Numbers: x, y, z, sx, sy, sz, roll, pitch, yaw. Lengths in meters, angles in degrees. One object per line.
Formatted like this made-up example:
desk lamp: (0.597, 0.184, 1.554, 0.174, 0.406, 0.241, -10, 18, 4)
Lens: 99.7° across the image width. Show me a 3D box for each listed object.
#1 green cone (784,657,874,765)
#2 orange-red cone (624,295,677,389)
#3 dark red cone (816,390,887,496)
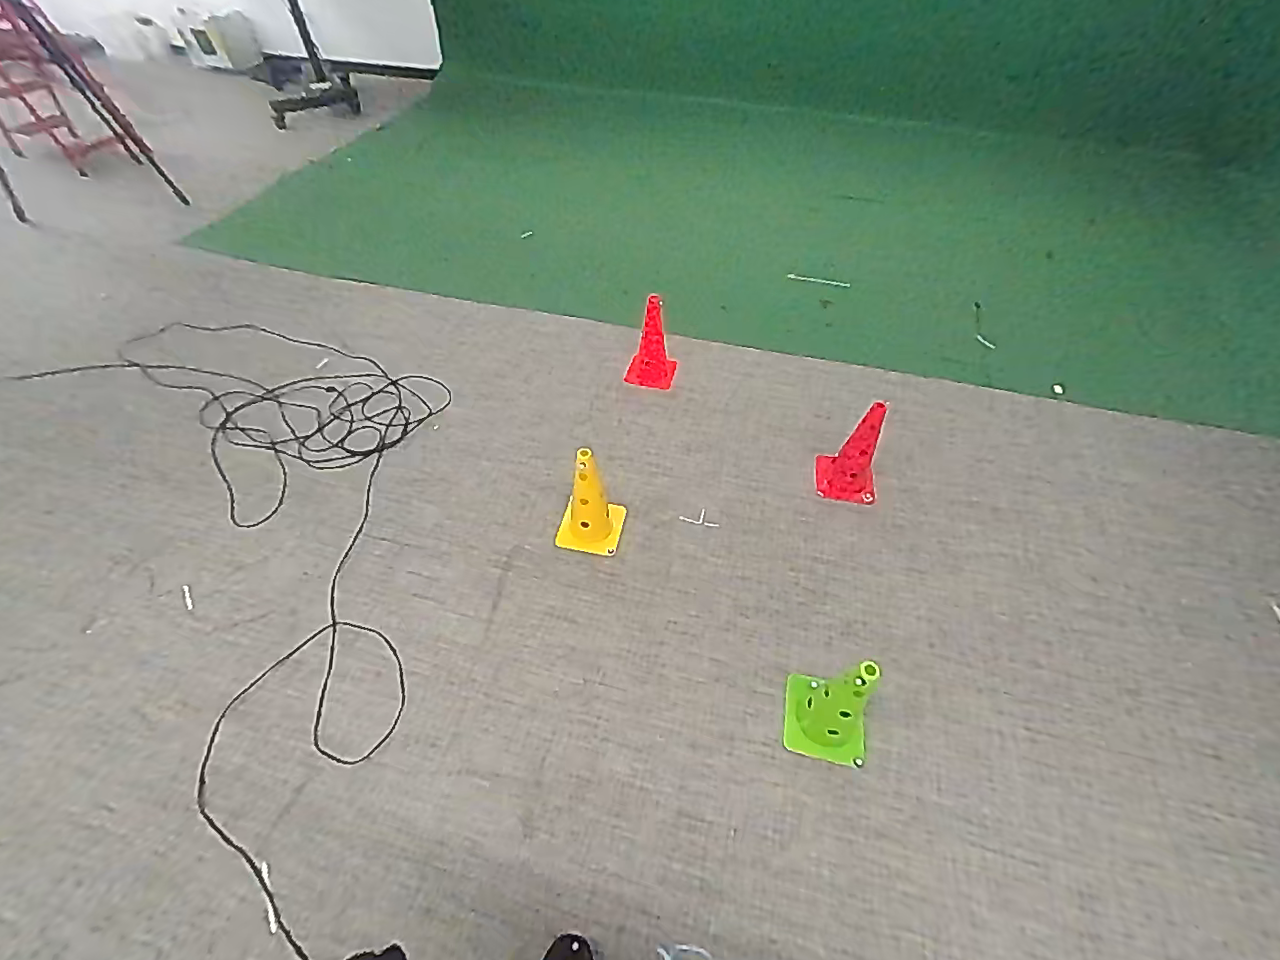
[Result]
green cone: (0.480, 0.505, 1.275, 0.202, 0.368, 0.200, 10, 50, 9)
orange-red cone: (0.044, -0.567, 2.155, 0.198, 0.360, 0.199, 12, 52, 10)
dark red cone: (0.726, -0.132, 1.776, 0.202, 0.394, 0.201, 8, 49, 5)
